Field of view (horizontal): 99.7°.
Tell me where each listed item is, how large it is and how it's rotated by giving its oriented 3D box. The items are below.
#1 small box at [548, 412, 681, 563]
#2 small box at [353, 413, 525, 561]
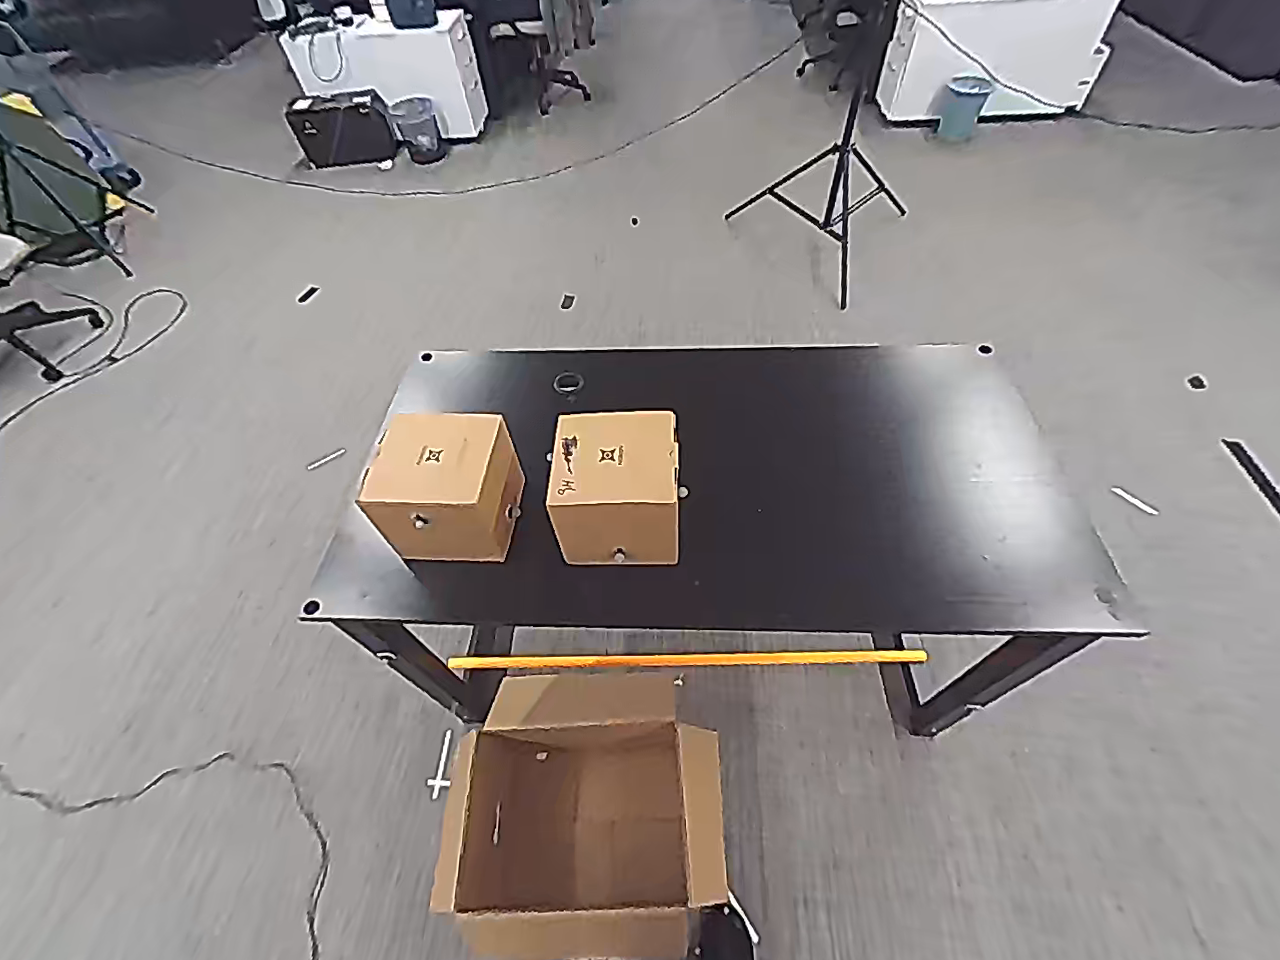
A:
[{"bbox_3d":[-0.031,0.015,0.816,0.179,0.176,0.168,-1,53,2],"label":"small box"},{"bbox_3d":[-0.294,0.014,0.834,0.179,0.176,0.168,2,54,4],"label":"small box"}]
